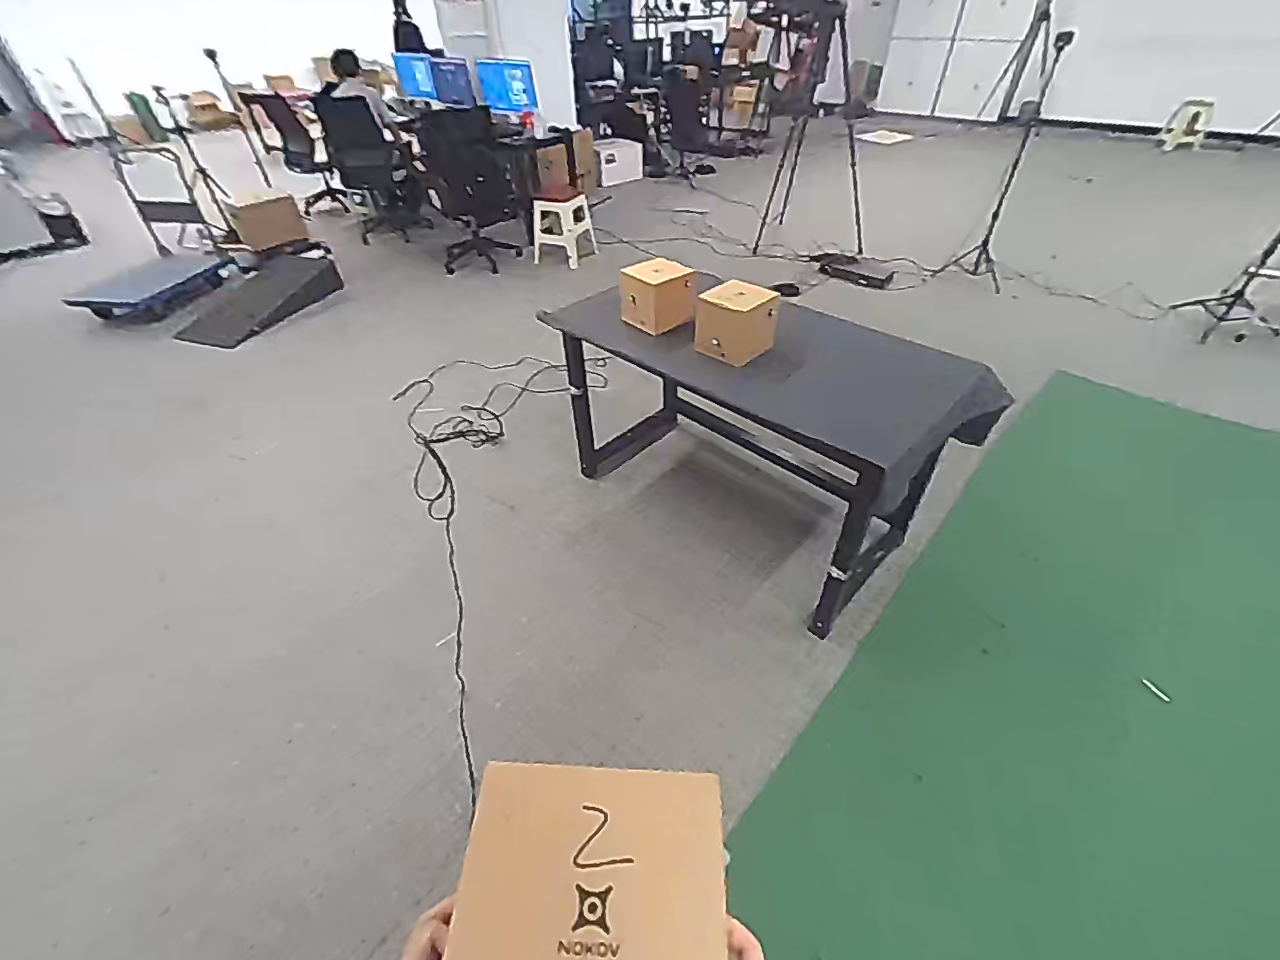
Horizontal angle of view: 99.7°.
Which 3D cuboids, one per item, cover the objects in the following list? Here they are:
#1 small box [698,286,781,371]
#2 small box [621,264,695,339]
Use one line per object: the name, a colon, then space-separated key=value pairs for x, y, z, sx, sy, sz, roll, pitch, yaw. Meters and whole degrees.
small box: x=0.283 y=-0.443 z=1.577 sx=0.168 sy=0.176 sz=0.179 roll=31 pitch=50 yaw=33
small box: x=0.059 y=-0.571 z=1.734 sx=0.179 sy=0.176 sz=0.168 roll=-29 pitch=48 yaw=-30
